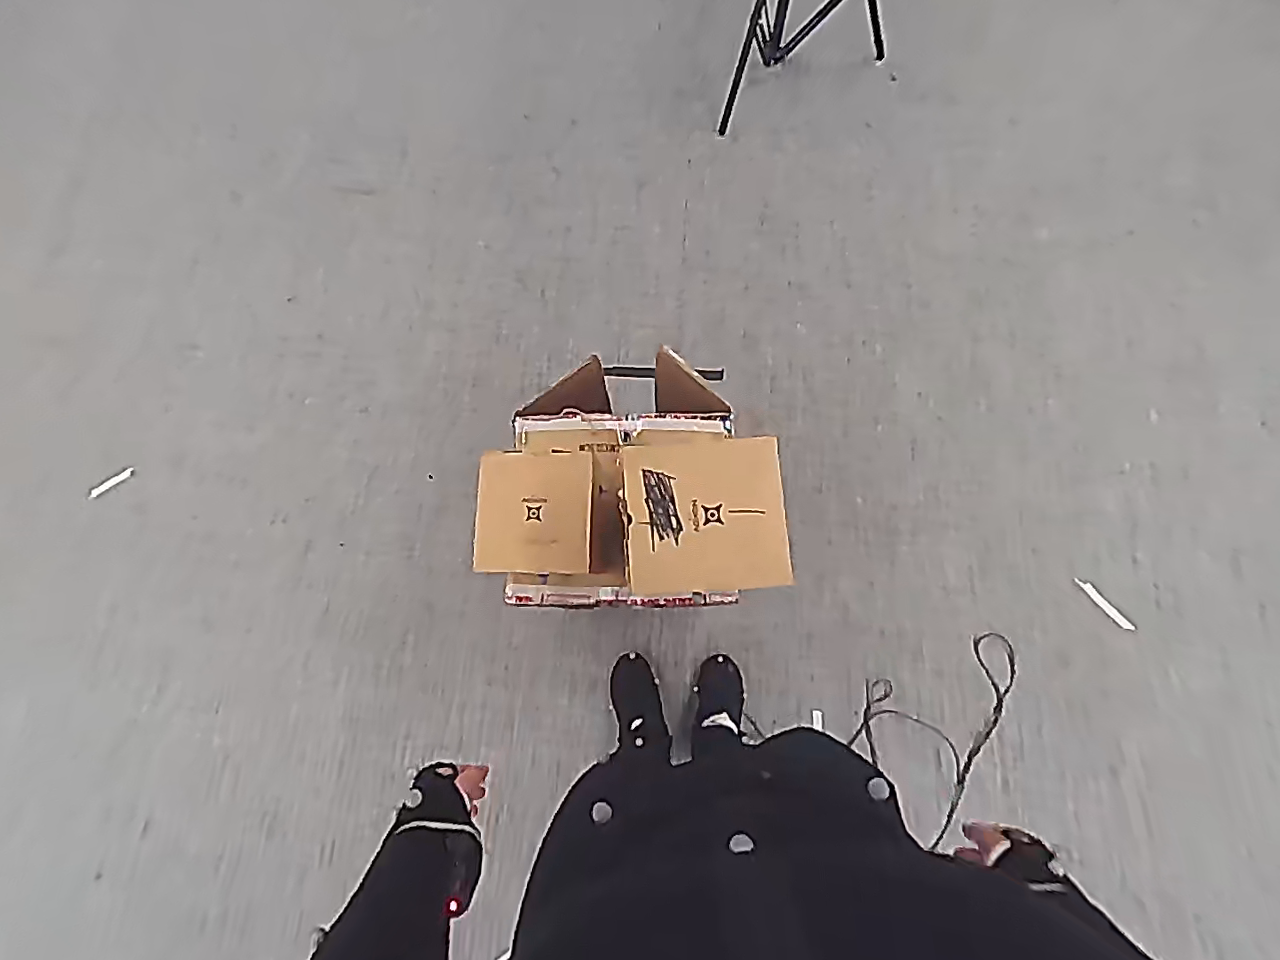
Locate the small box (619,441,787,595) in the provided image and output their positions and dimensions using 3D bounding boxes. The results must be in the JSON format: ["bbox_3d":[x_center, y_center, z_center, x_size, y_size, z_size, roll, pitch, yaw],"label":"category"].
[{"bbox_3d":[0.071,0.055,0.674,0.179,0.176,0.168,-4,81,0],"label":"small box"}]

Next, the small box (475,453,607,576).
[{"bbox_3d":[-0.145,0.061,0.849,0.168,0.176,0.179,0,81,4],"label":"small box"}]
